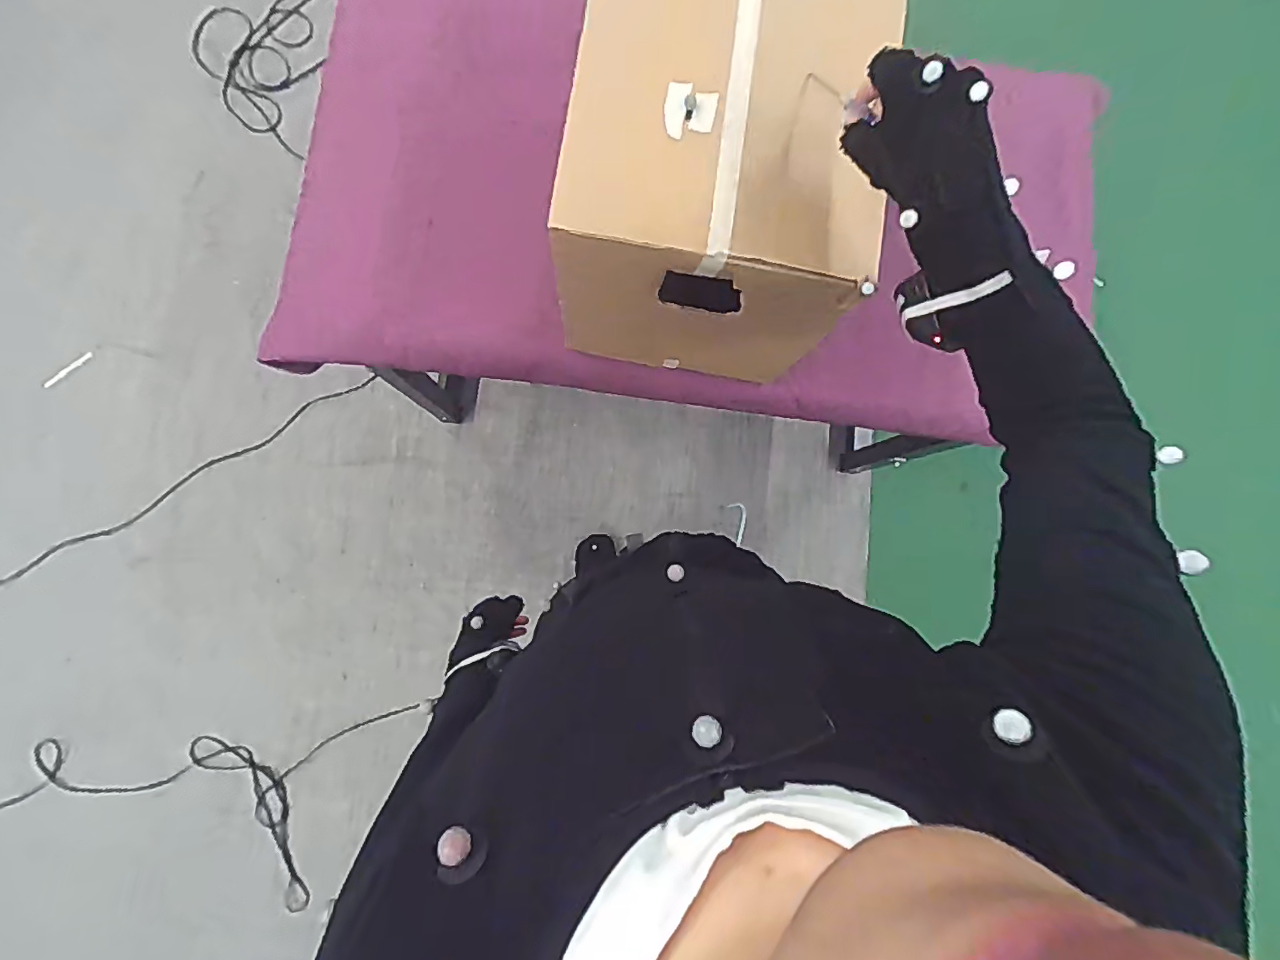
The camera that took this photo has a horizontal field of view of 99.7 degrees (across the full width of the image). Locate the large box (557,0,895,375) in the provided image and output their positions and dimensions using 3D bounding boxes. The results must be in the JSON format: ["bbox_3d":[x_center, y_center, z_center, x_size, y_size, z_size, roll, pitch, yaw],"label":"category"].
[{"bbox_3d":[0.084,-0.389,0.684,0.320,0.320,0.408,9,84,-3],"label":"large box"}]
